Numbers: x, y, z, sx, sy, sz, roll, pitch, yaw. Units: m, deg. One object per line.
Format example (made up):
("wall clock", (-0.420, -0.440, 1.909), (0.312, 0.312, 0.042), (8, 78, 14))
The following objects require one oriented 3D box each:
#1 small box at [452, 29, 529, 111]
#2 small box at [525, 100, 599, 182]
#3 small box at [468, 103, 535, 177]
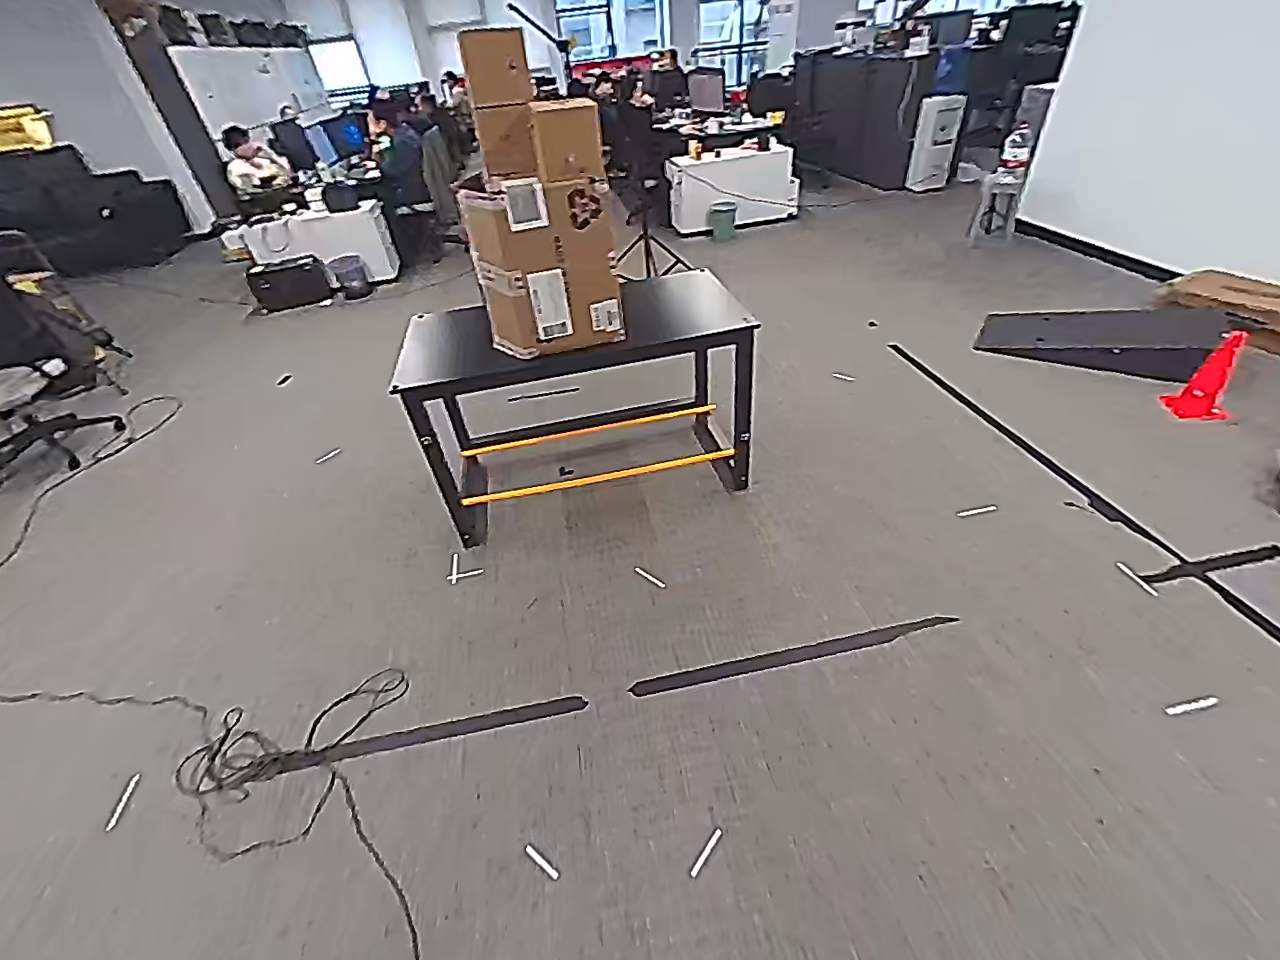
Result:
("small box", (-0.416, -1.149, 1.520), (0.179, 0.176, 0.168), (-15, 37, -11))
("small box", (-0.215, -0.939, 1.498), (0.168, 0.176, 0.179), (-13, 41, -9))
("small box", (-0.405, -1.022, 1.622), (0.179, 0.176, 0.168), (-13, 38, -9))
